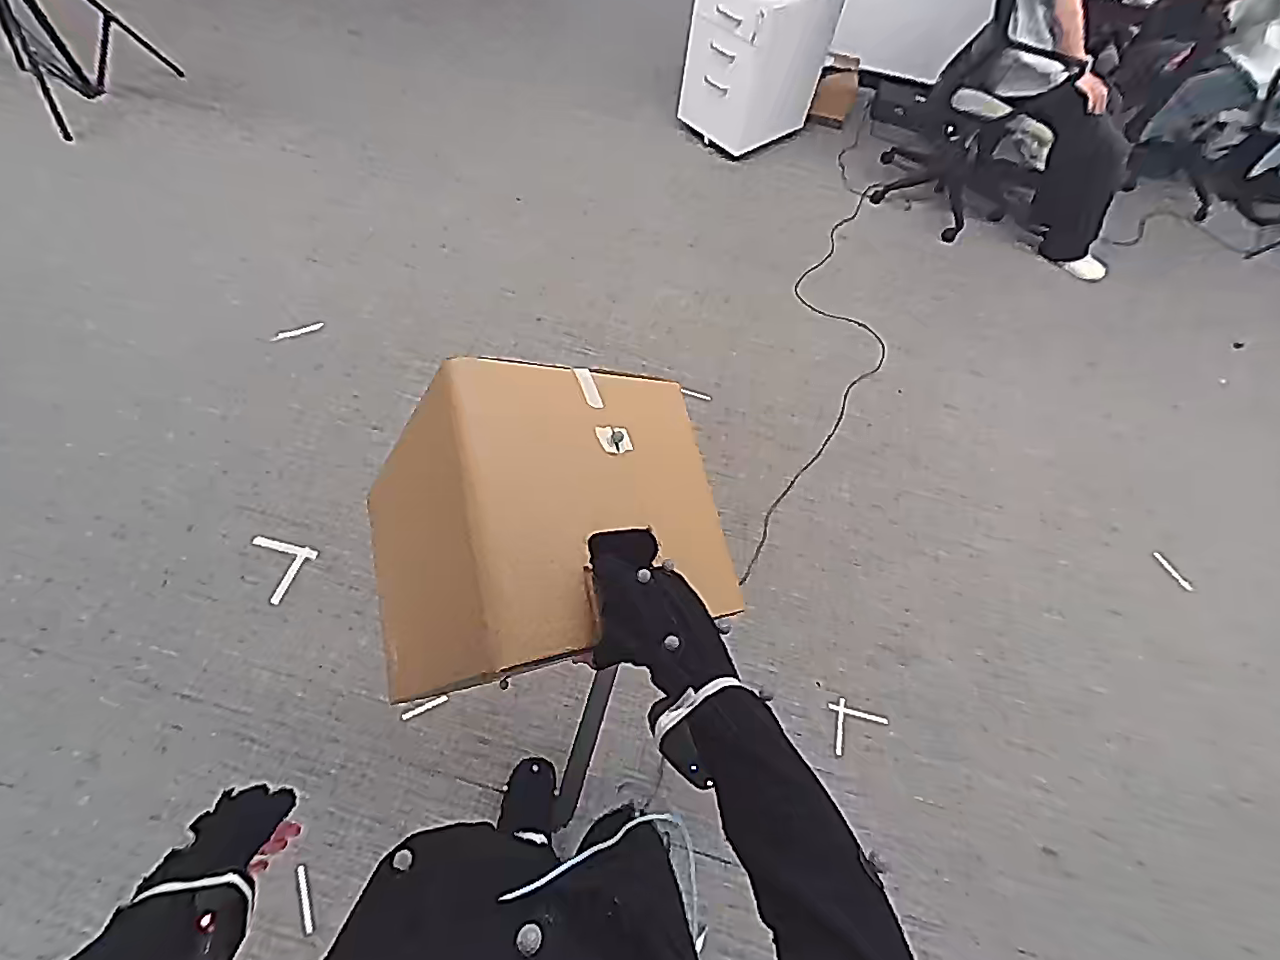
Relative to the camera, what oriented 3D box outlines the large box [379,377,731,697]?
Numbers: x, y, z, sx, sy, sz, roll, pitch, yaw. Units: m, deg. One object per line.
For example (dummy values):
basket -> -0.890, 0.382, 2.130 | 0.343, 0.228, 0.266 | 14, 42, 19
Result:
large box -> -0.148, 0.094, 0.751 | 0.320, 0.408, 0.320 | 0, 69, -37
